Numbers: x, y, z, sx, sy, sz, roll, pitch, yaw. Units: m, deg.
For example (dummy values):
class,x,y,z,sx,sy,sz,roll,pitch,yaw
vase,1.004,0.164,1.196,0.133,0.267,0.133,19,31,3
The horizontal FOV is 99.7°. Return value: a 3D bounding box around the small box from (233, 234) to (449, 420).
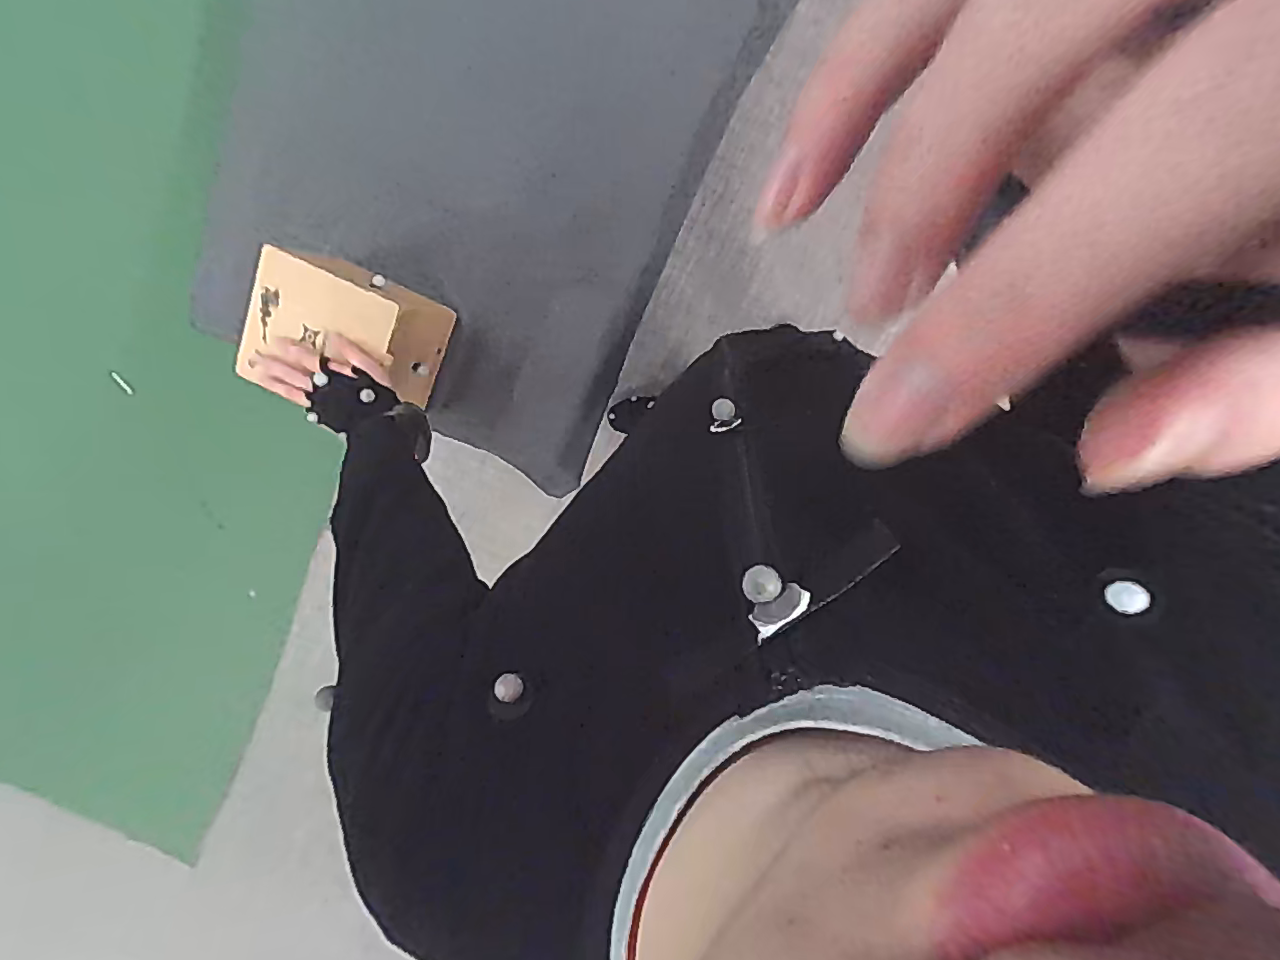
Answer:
class,x,y,z,sx,sy,sz,roll,pitch,yaw
small box,-0.384,-0.201,0.723,0.179,0.176,0.168,24,105,-4
